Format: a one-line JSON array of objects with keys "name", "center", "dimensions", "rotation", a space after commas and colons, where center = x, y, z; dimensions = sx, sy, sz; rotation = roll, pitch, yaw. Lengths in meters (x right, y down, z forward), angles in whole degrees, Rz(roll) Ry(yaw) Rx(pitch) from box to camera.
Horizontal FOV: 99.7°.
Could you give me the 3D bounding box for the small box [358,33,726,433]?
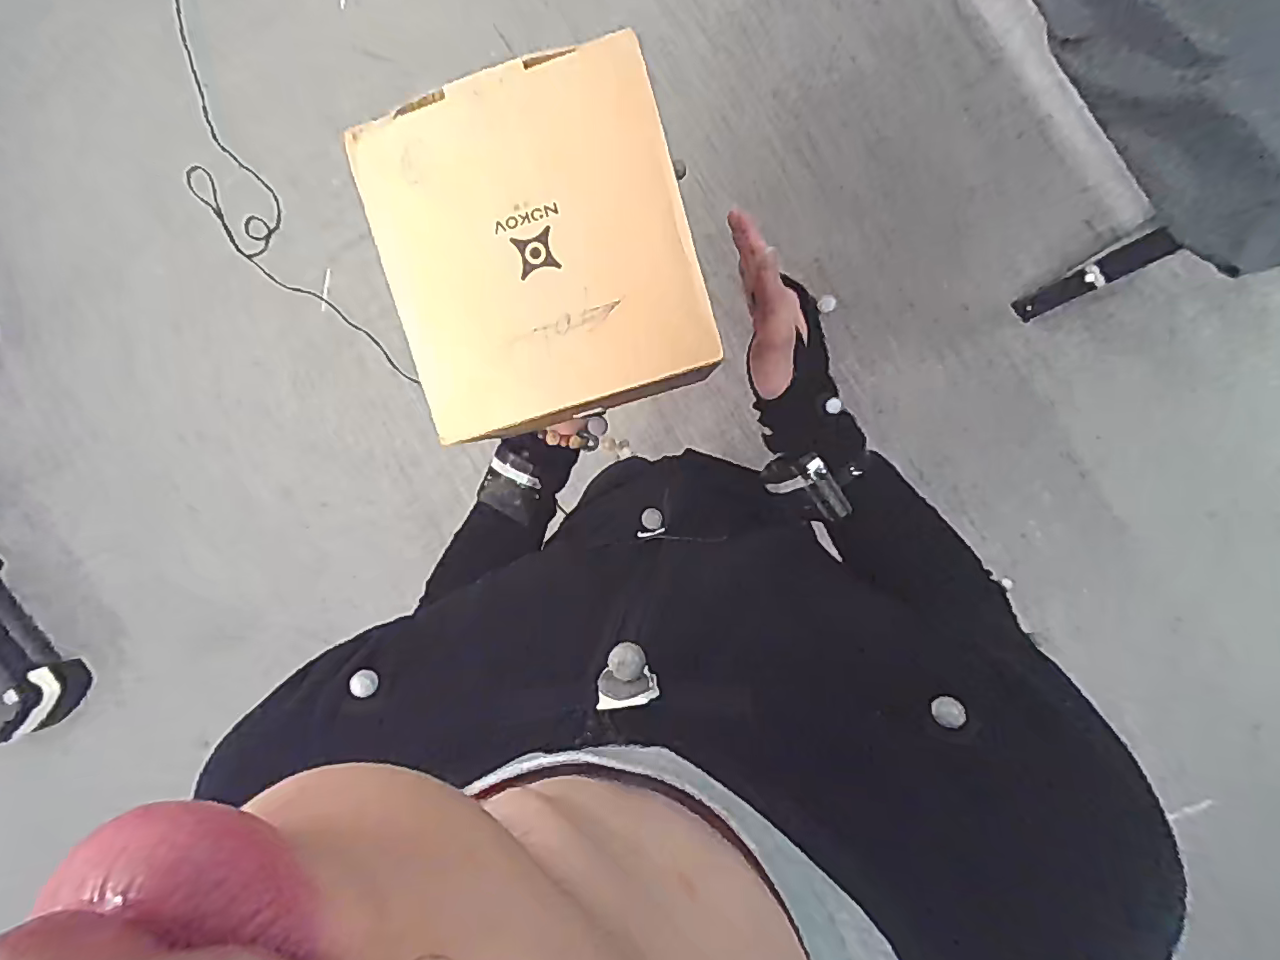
[{"name": "small box", "center": [-0.048, -0.136, 0.370], "dimensions": [0.168, 0.176, 0.179], "rotation": [-15, 96, 5]}]
